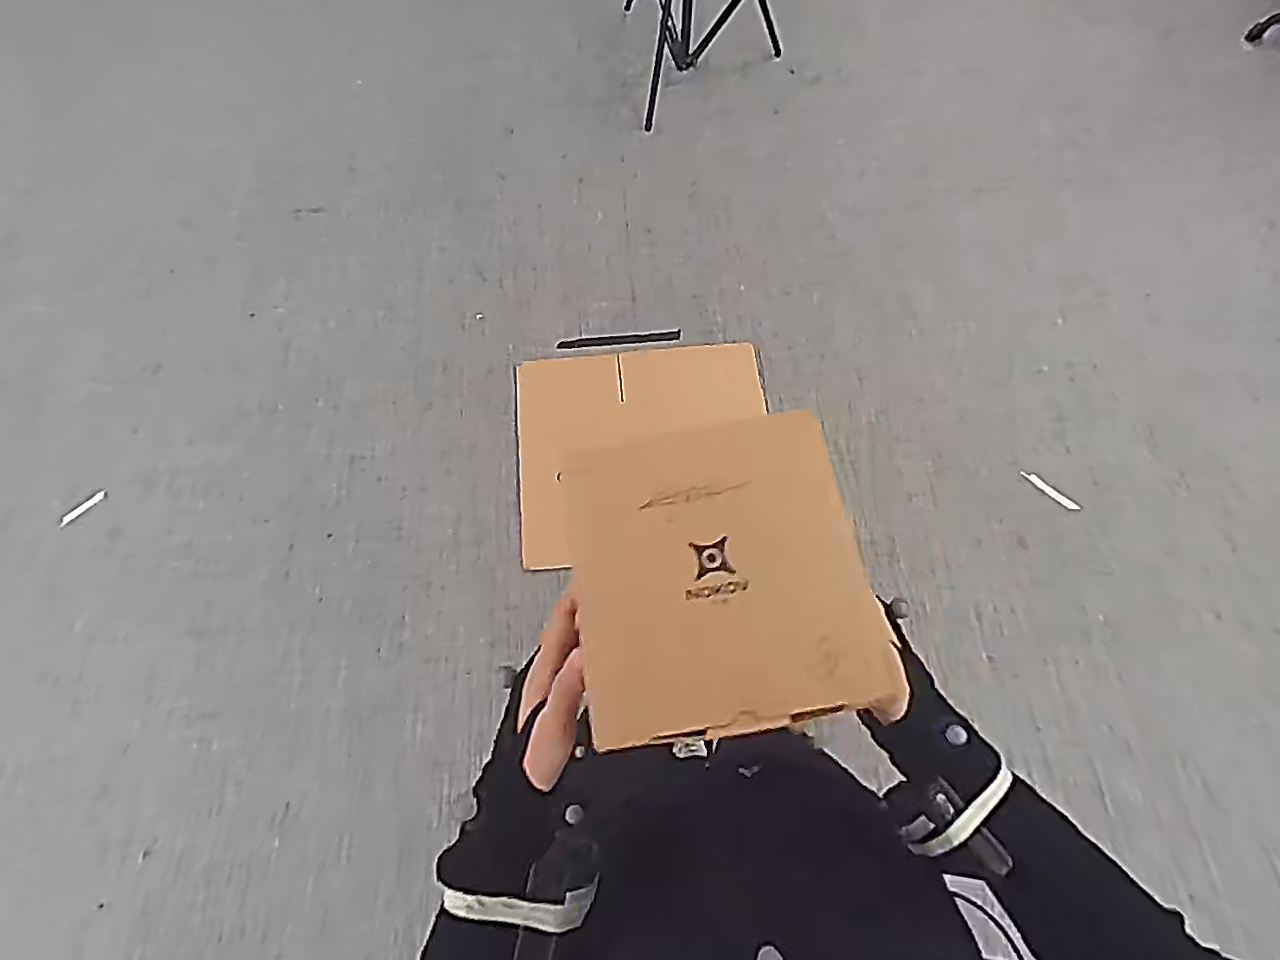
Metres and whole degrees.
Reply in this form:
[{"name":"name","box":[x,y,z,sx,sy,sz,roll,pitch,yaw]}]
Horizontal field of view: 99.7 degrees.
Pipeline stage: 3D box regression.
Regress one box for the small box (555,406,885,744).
[{"name":"small box","box":[0.044,0.073,0.388,0.168,0.176,0.179,-10,70,0]}]
